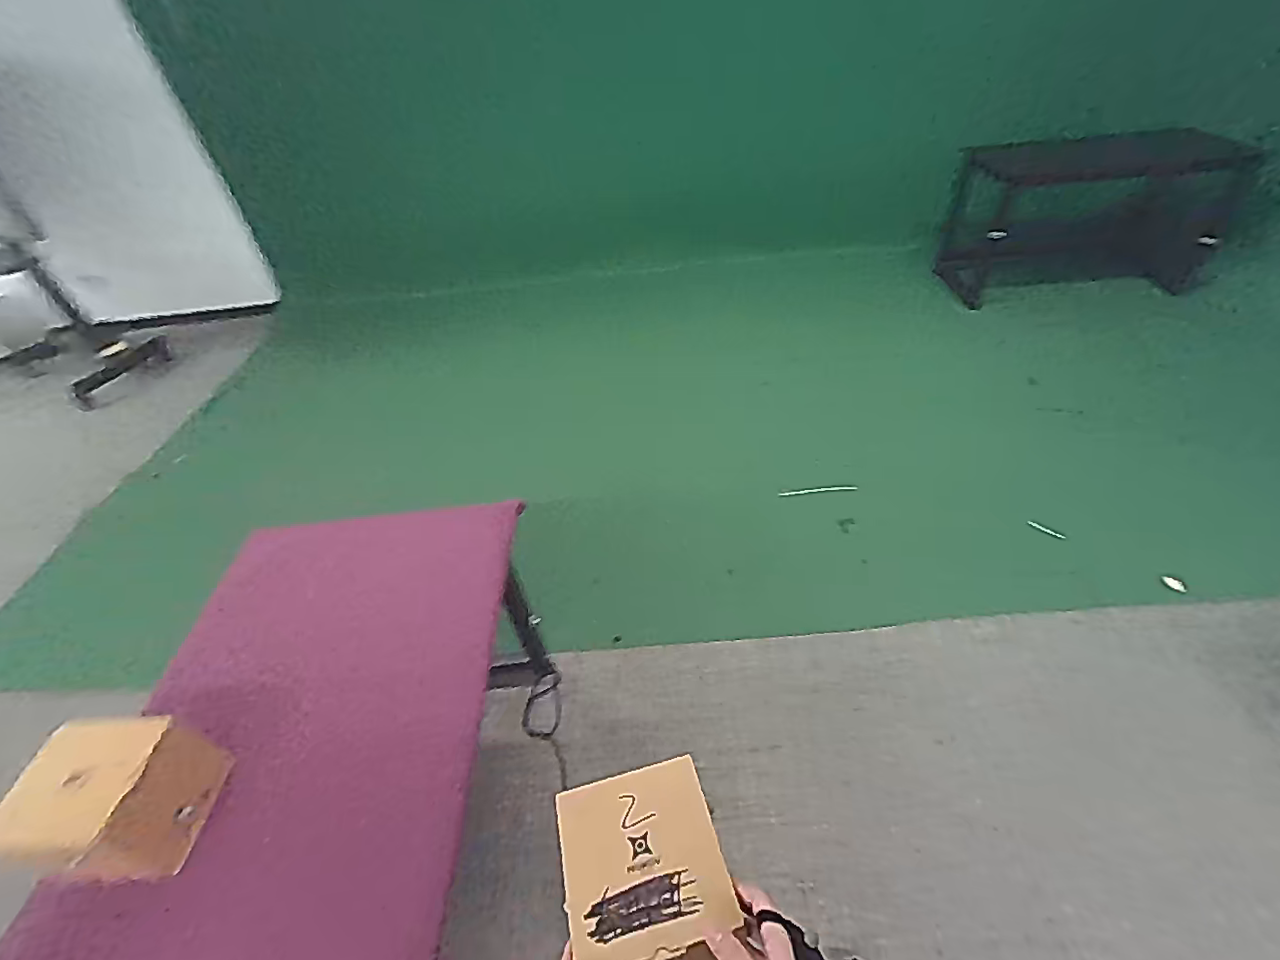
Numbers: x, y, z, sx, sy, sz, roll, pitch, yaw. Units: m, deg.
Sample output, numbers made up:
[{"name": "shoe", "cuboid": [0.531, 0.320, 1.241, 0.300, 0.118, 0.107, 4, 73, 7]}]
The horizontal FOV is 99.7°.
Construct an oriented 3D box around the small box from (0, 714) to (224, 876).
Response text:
[{"name": "small box", "cuboid": [-0.781, 0.466, 0.798, 0.179, 0.176, 0.168, -3, 43, 1]}]
